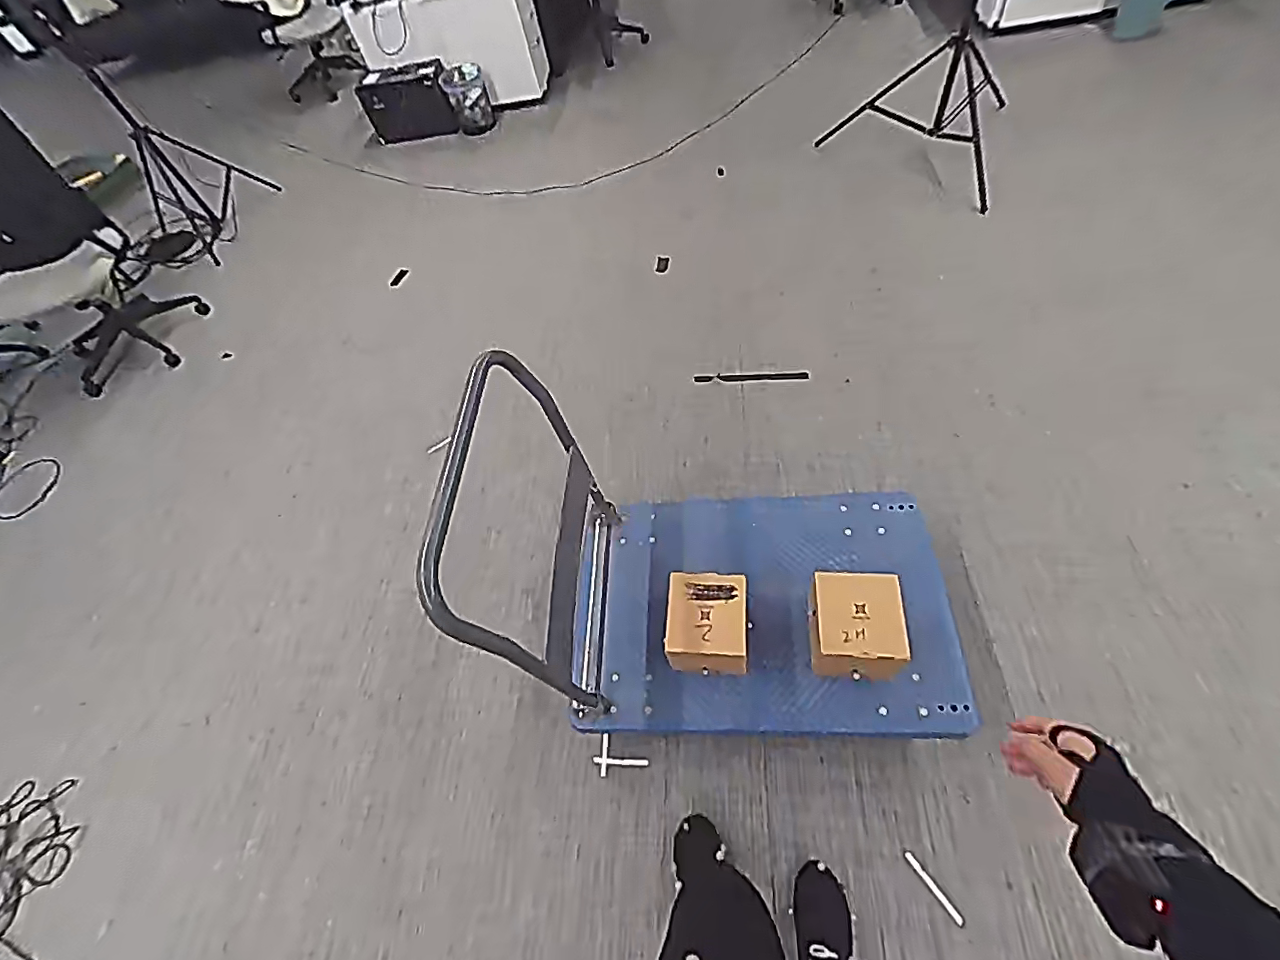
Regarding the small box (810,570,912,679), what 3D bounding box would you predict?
[{"bbox_3d":[0.460,0.309,1.153,0.168,0.176,0.179,0,57,12],"label":"small box"}]
